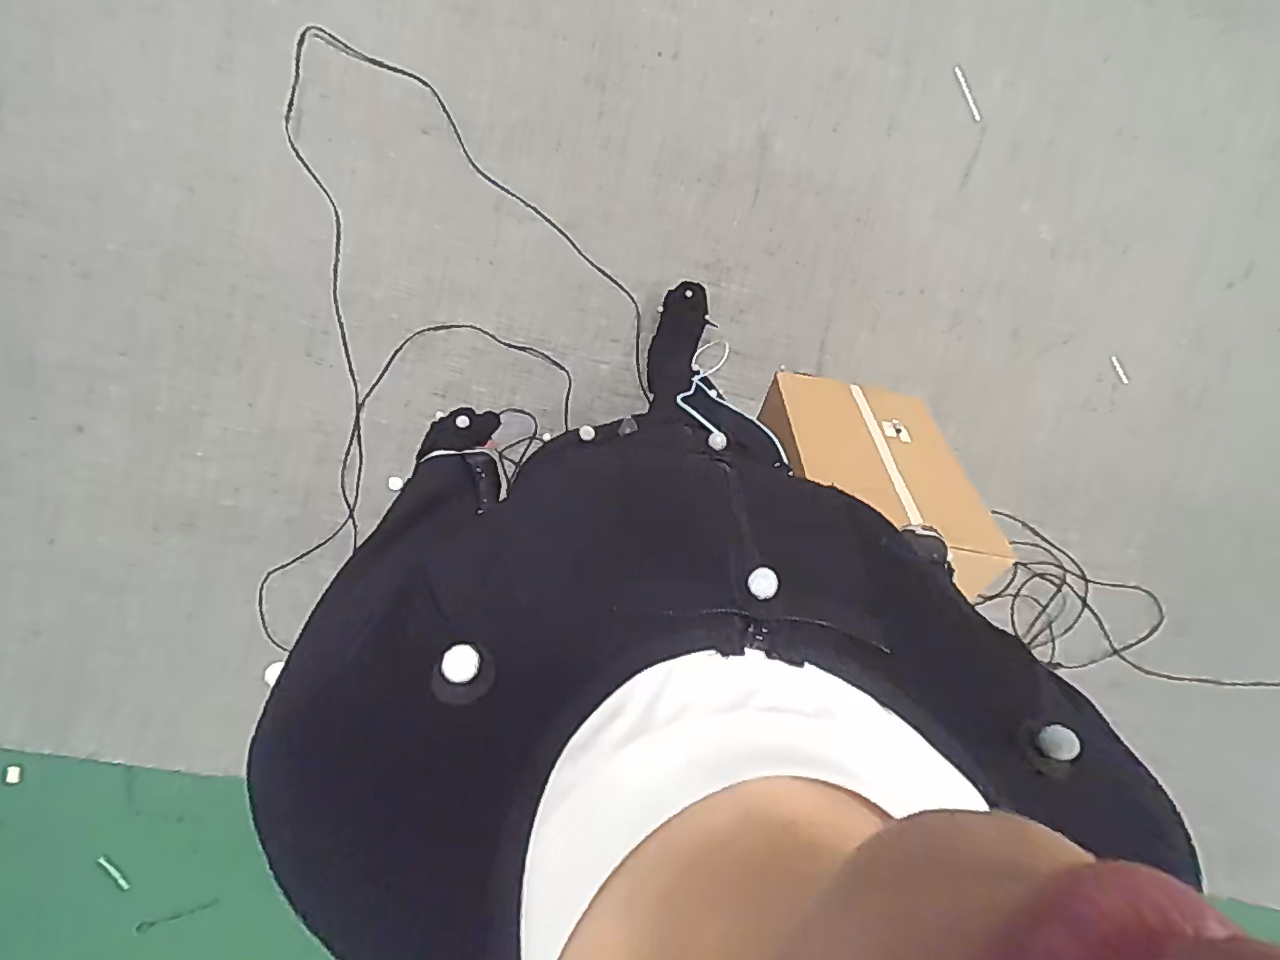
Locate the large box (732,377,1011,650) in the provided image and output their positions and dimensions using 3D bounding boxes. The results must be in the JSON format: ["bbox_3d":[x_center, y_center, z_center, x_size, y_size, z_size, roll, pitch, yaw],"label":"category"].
[{"bbox_3d":[0.384,0.062,1.034,0.320,0.408,0.320,10,132,-7],"label":"large box"}]
